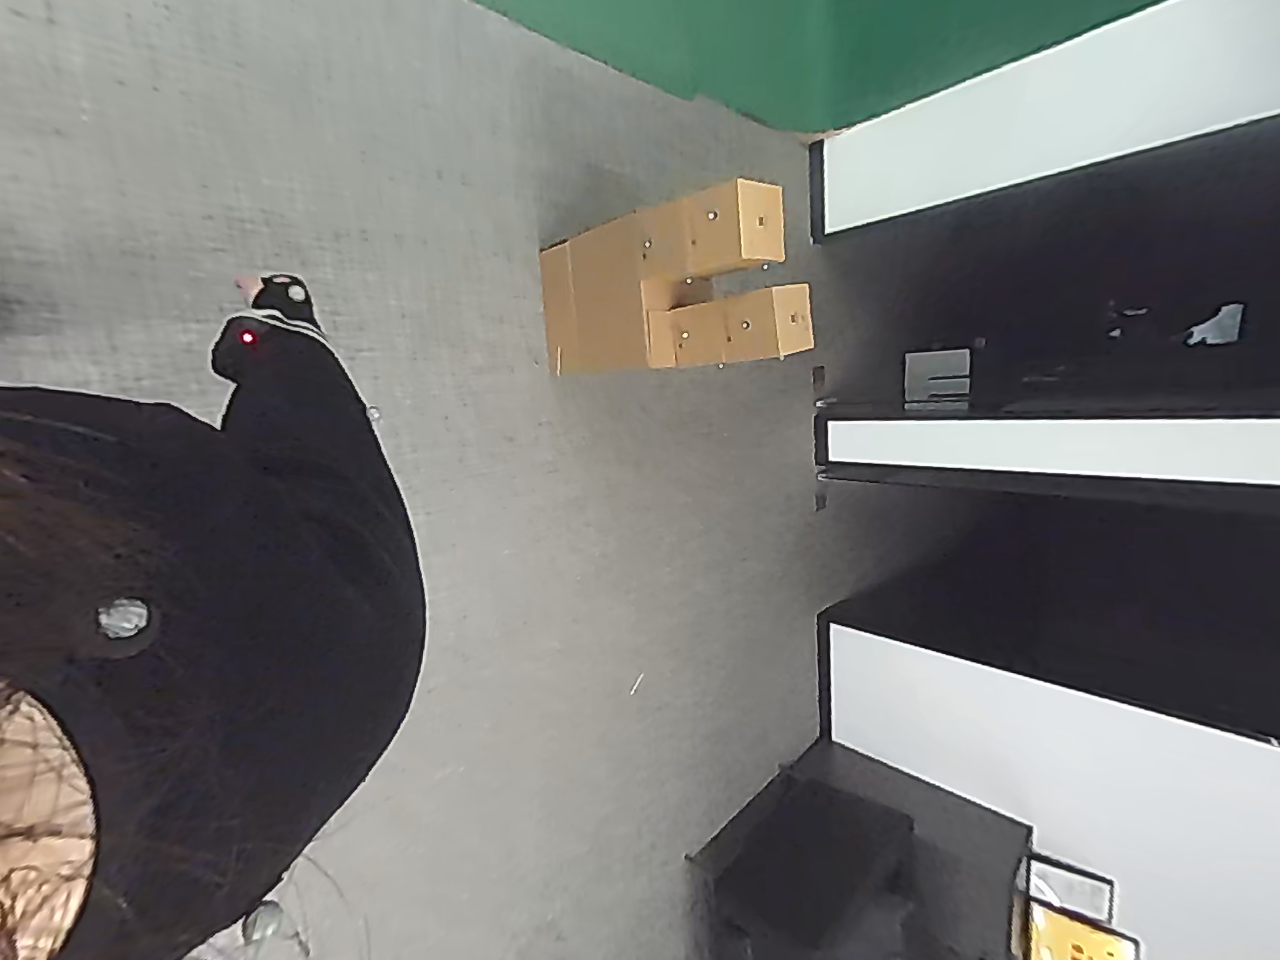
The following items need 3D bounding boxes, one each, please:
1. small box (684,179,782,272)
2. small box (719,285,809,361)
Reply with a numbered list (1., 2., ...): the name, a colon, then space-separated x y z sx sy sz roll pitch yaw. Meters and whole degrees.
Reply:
1. small box: 0.218 -0.601 1.300 0.179 0.176 0.168 -18 108 -40
2. small box: 0.321 -0.410 1.422 0.179 0.176 0.168 -22 109 -41
